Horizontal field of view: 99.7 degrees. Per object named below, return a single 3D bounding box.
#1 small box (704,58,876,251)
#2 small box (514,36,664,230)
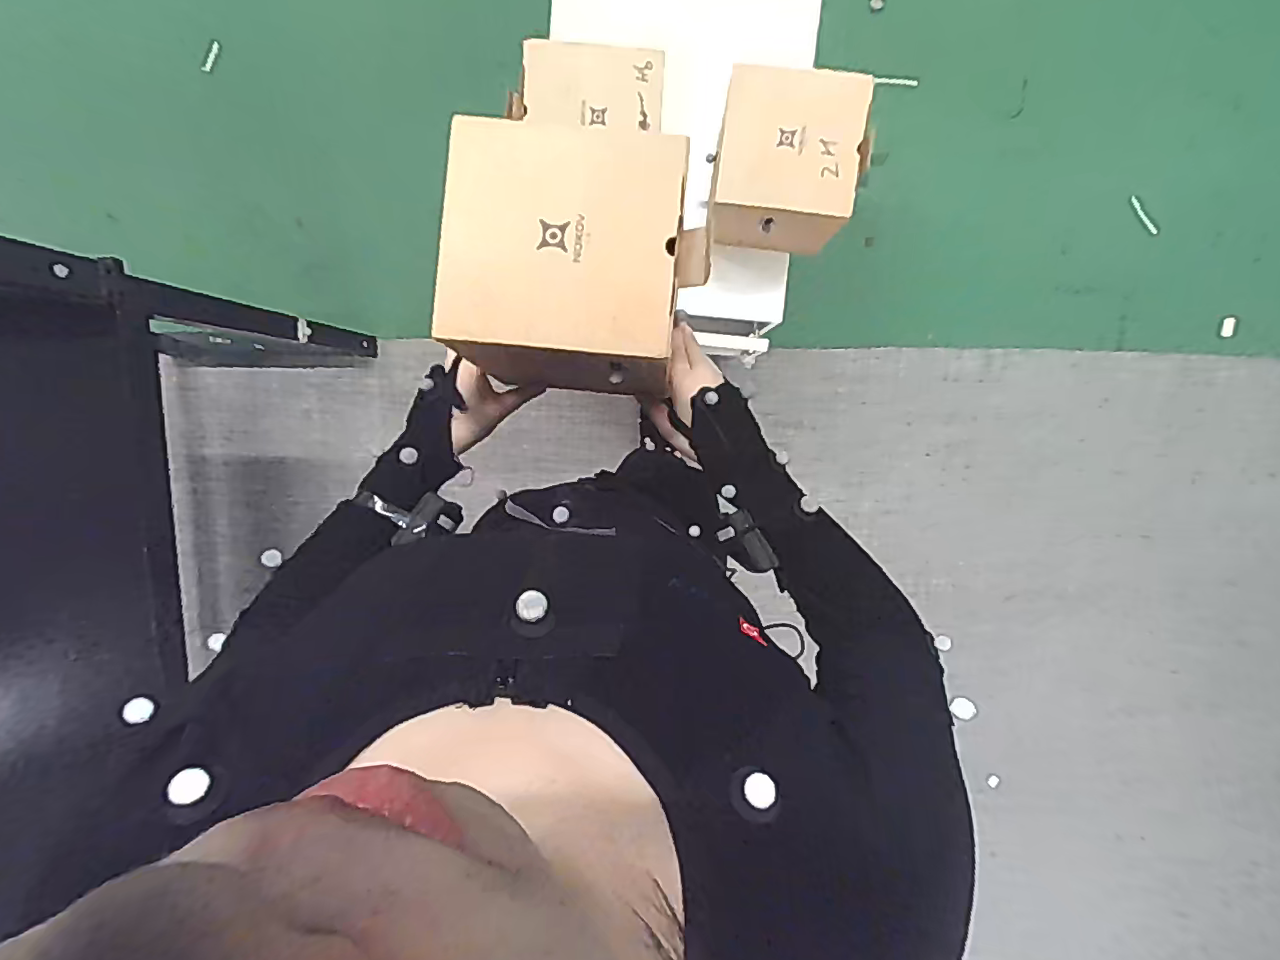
[{"bbox_3d":[0.187,-0.423,0.732,0.179,0.176,0.168,7,98,0],"label":"small box"},{"bbox_3d":[-0.062,-0.454,0.734,0.179,0.176,0.168,4,98,0],"label":"small box"}]
